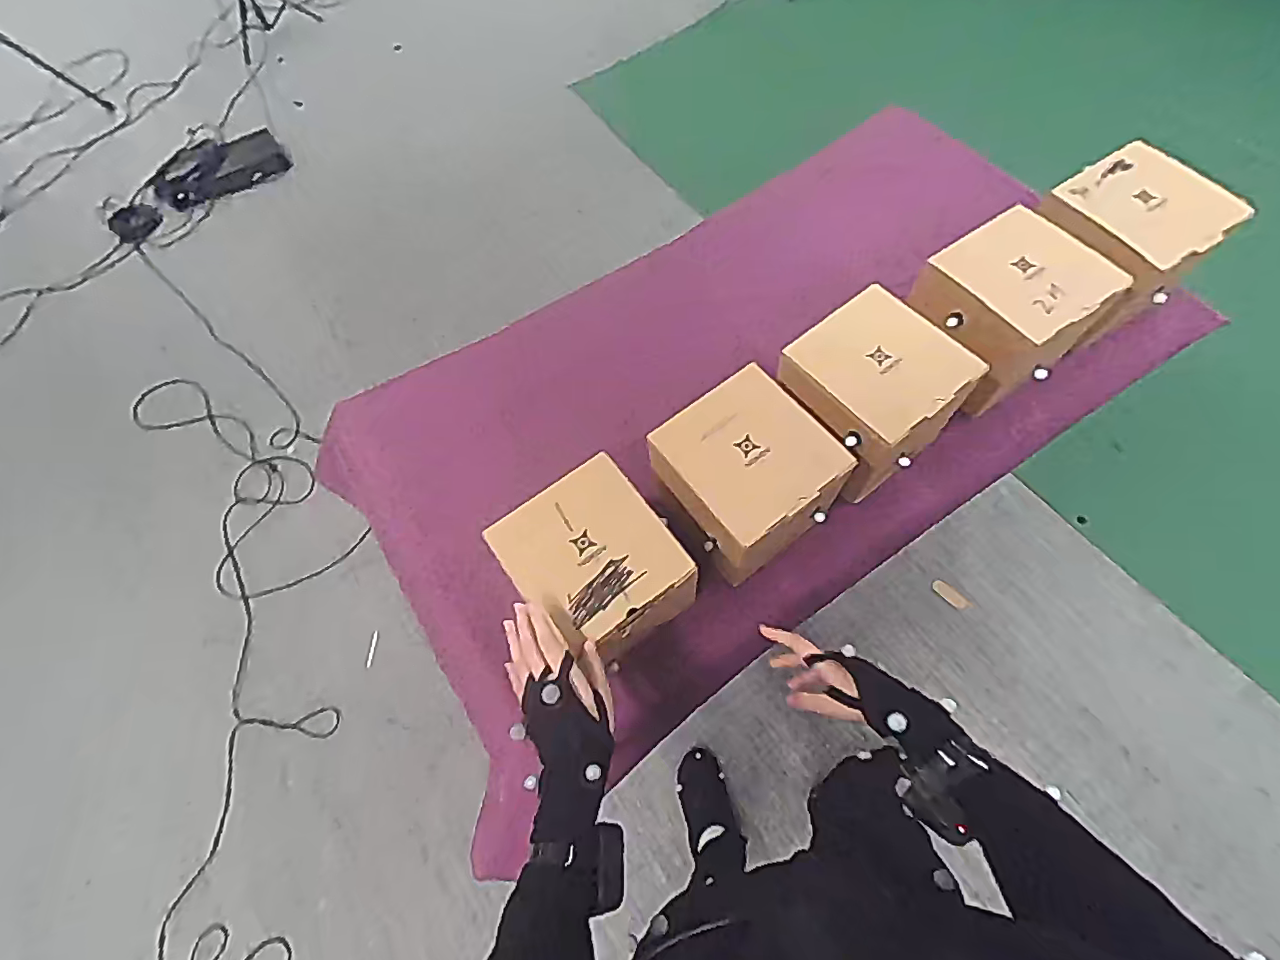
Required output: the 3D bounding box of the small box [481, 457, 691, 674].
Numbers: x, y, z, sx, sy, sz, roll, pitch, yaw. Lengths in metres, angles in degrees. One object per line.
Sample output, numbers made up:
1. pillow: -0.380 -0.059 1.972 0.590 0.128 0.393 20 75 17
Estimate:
1. small box: -0.052 0.110 0.642 0.168 0.176 0.179 -35 67 -10
